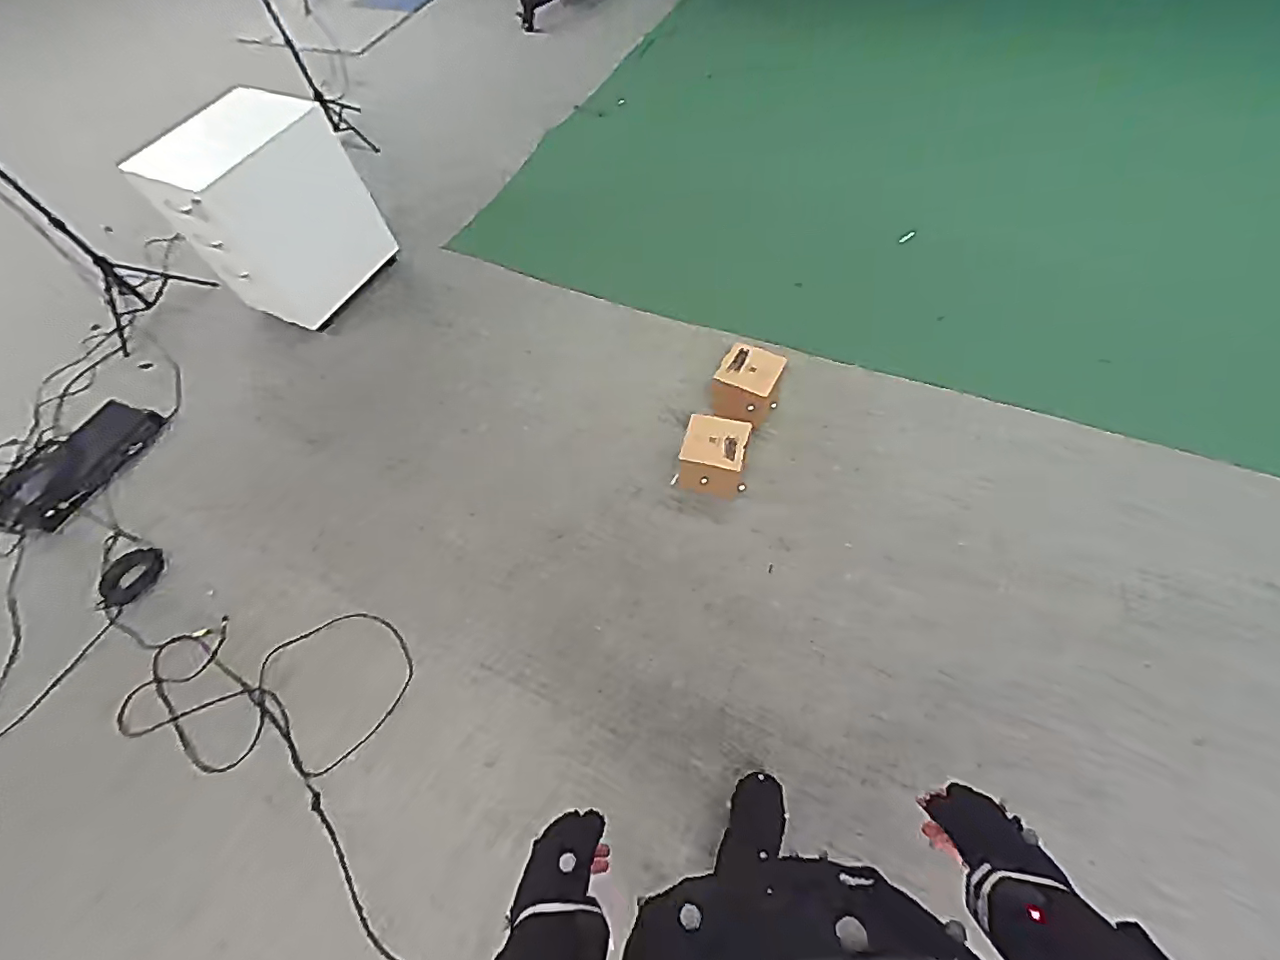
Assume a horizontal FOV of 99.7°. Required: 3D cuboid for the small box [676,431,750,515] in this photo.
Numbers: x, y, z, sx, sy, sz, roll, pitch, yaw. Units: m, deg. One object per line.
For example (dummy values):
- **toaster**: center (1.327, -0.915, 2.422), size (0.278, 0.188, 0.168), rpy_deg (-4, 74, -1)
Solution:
- **small box**: center (0.213, -0.016, 1.575), size (0.179, 0.176, 0.168), rpy_deg (13, 60, 14)
